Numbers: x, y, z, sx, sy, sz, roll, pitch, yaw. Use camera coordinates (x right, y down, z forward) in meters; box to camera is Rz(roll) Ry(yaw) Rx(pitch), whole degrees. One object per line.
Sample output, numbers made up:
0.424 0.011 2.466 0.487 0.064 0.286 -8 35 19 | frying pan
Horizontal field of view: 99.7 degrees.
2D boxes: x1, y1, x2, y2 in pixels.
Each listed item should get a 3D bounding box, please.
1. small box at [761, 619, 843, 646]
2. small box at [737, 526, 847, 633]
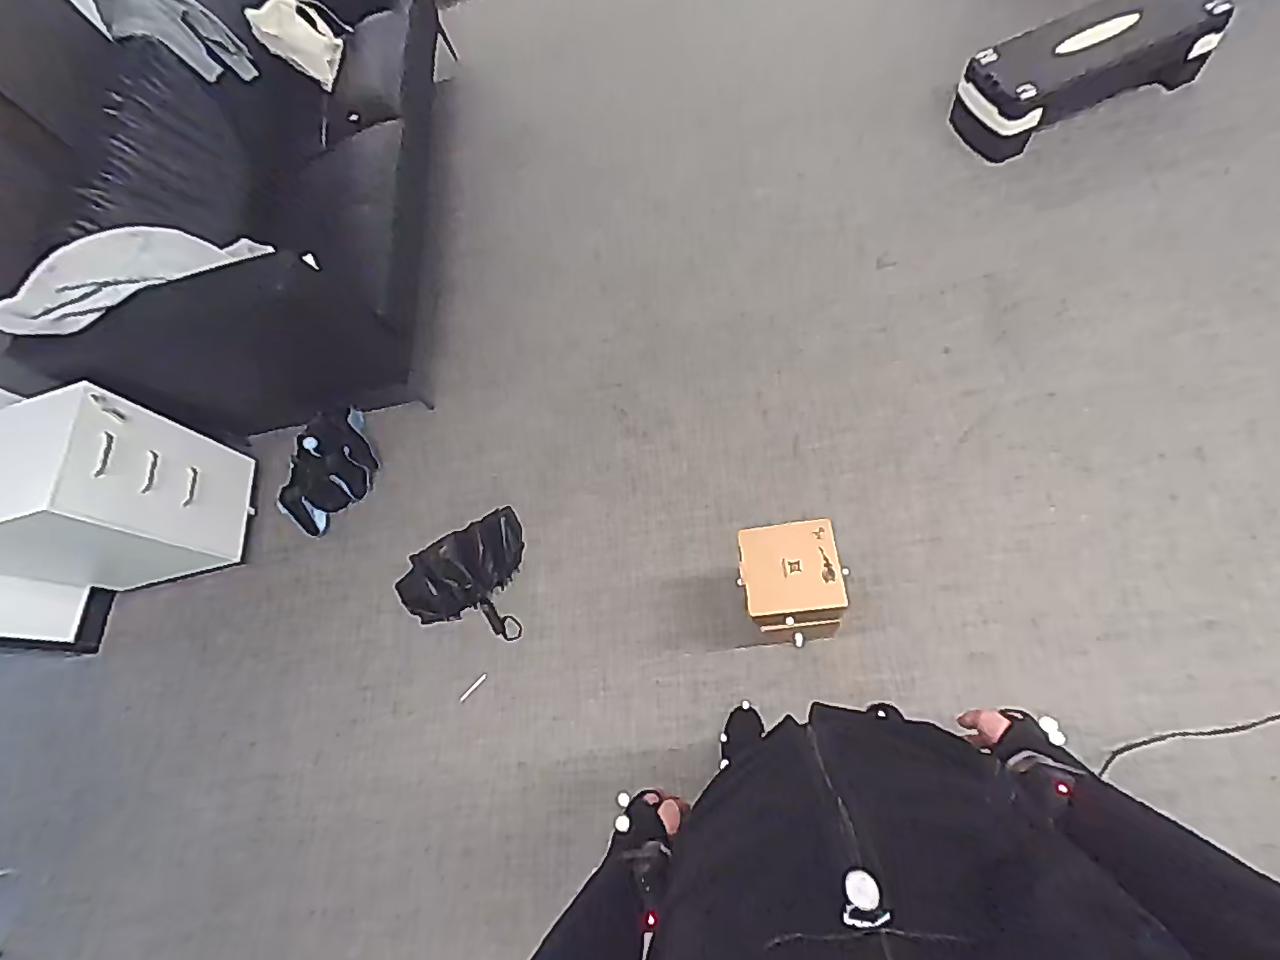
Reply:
0.343 0.265 1.204 0.168 0.176 0.179 -11 66 12 | small box
0.297 0.202 1.060 0.179 0.176 0.168 -10 66 13 | small box
